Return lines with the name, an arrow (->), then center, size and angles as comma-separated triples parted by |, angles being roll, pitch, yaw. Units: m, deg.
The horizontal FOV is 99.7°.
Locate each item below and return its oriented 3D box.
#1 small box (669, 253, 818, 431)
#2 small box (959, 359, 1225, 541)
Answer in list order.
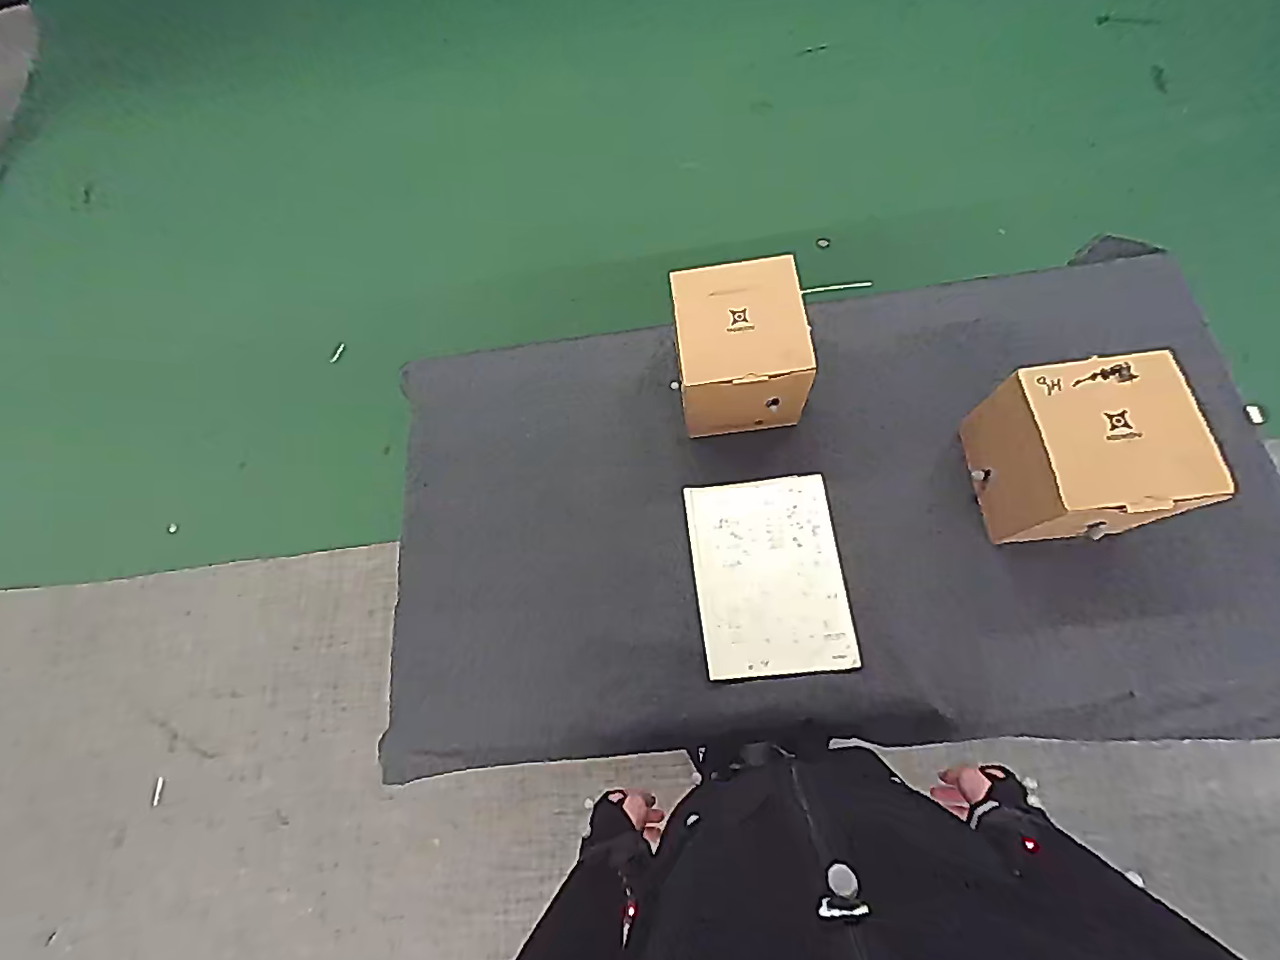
small box -> 0.136, -0.178, 0.753 | 0.168, 0.176, 0.179 | -7, 71, 4
small box -> 0.531, -0.024, 0.668 | 0.168, 0.176, 0.179 | -6, 73, 5
